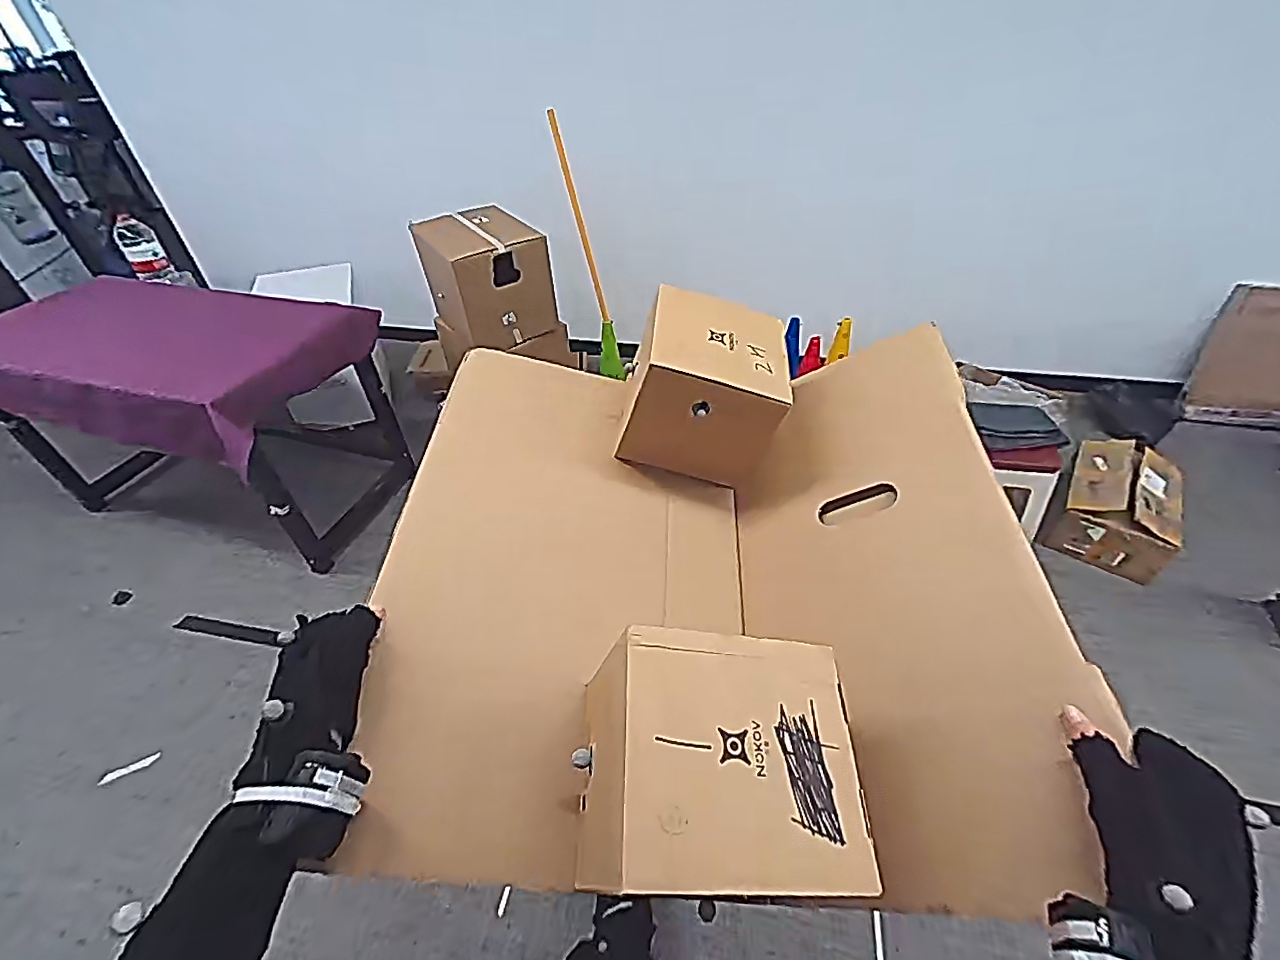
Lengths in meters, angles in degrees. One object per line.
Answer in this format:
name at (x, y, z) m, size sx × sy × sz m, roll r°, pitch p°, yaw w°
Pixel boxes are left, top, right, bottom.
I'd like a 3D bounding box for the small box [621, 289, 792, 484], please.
small box at (0.082, -0.117, 0.723) m, size 0.179 × 0.176 × 0.168 m, roll 16°, pitch 51°, yaw -8°
